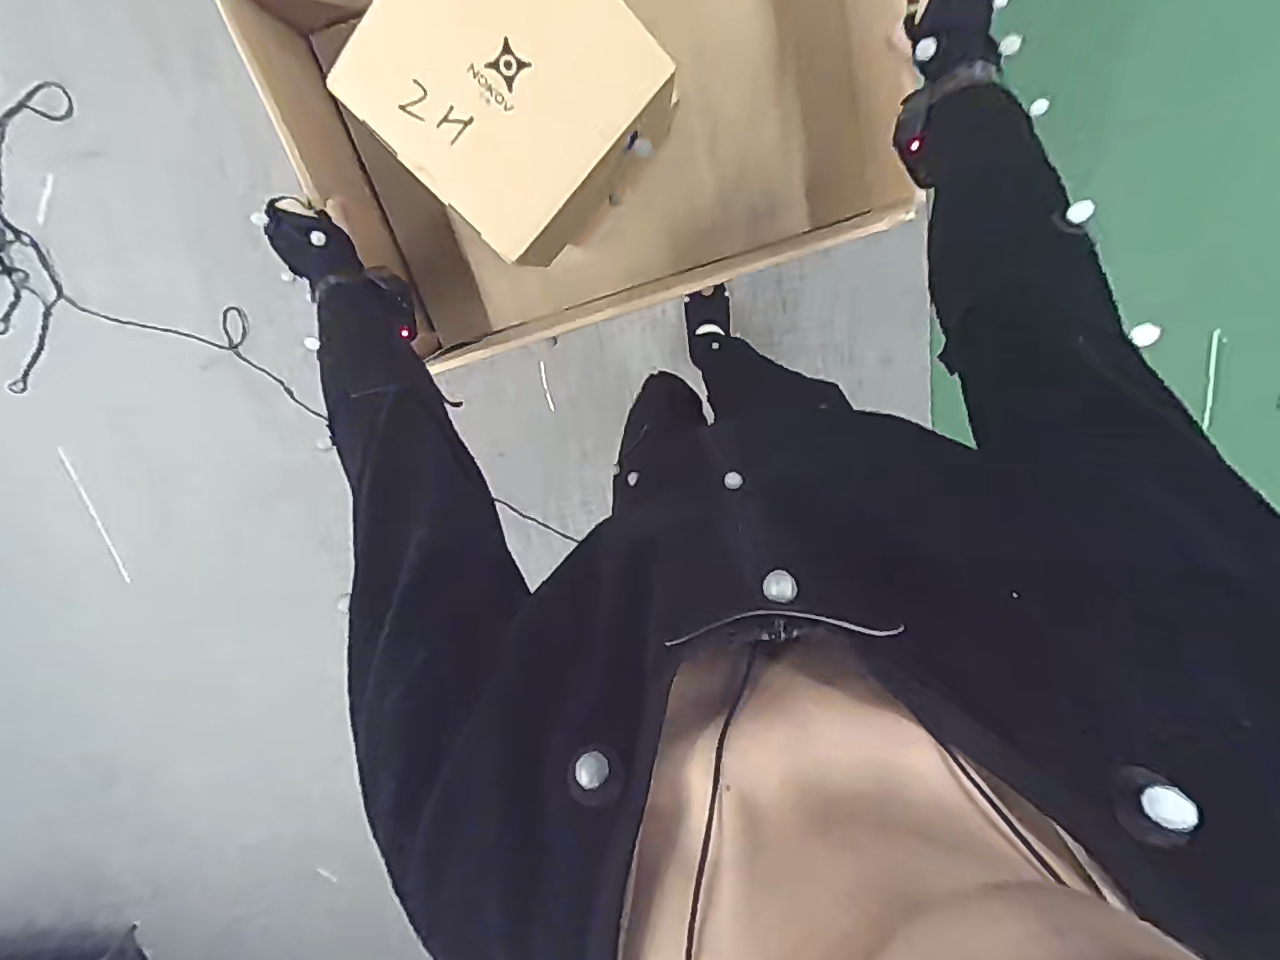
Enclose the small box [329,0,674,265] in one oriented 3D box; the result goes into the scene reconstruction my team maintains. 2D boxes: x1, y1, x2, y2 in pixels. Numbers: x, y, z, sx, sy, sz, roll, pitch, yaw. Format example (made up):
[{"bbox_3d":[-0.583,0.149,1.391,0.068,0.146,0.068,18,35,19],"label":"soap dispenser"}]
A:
[{"bbox_3d":[-0.093,-0.299,0.435,0.168,0.176,0.179,43,106,-14],"label":"small box"}]
